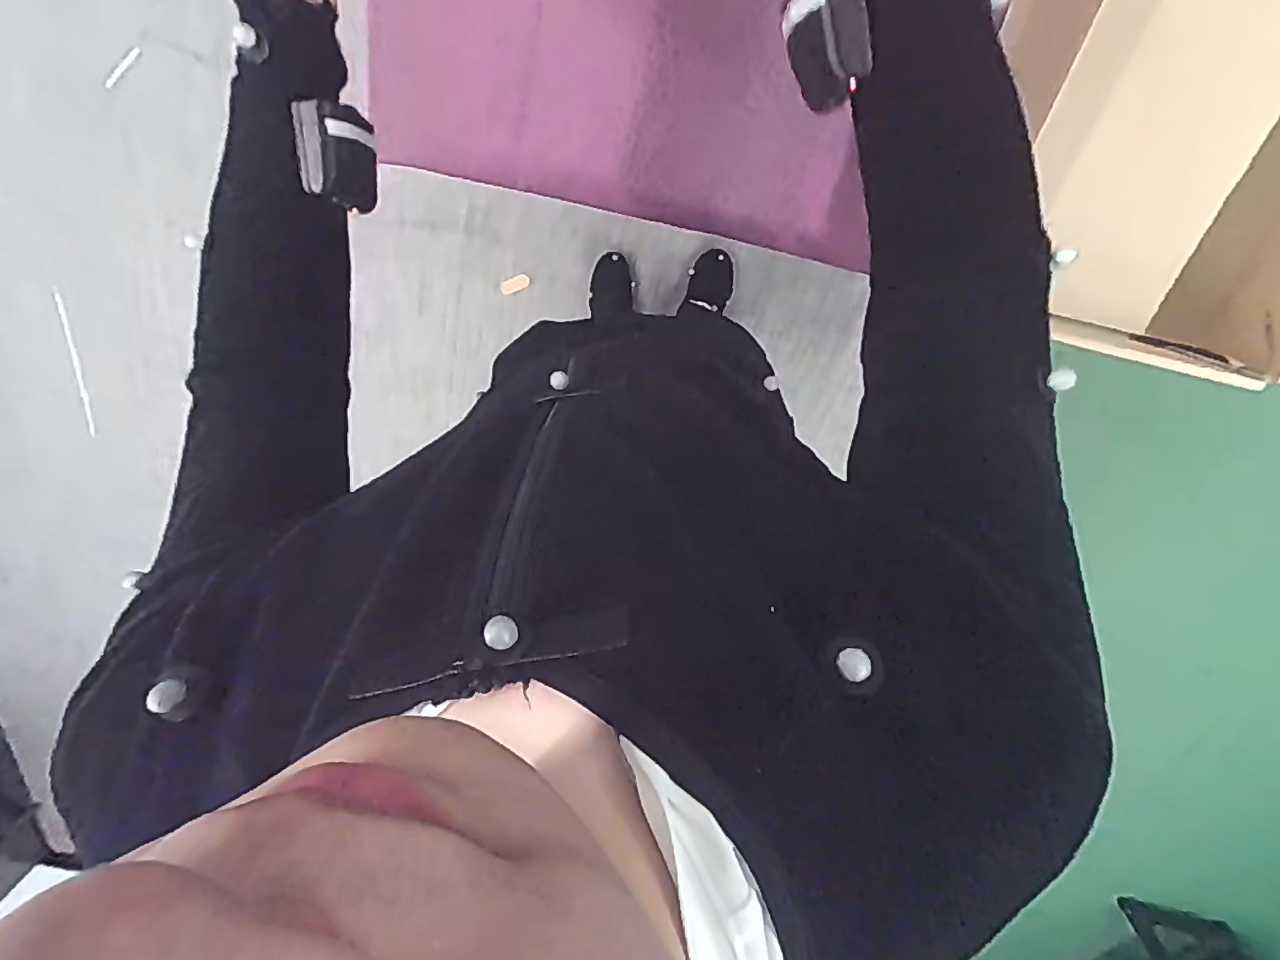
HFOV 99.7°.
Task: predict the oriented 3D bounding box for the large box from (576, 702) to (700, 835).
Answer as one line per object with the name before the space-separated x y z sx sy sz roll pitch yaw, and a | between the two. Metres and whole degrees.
large box | 0.001 1.146 2.157 0.408 0.320 0.320 -16 115 10

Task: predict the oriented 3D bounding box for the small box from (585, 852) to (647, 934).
small box | -0.074 1.388 1.823 0.179 0.176 0.168 -9 116 8
